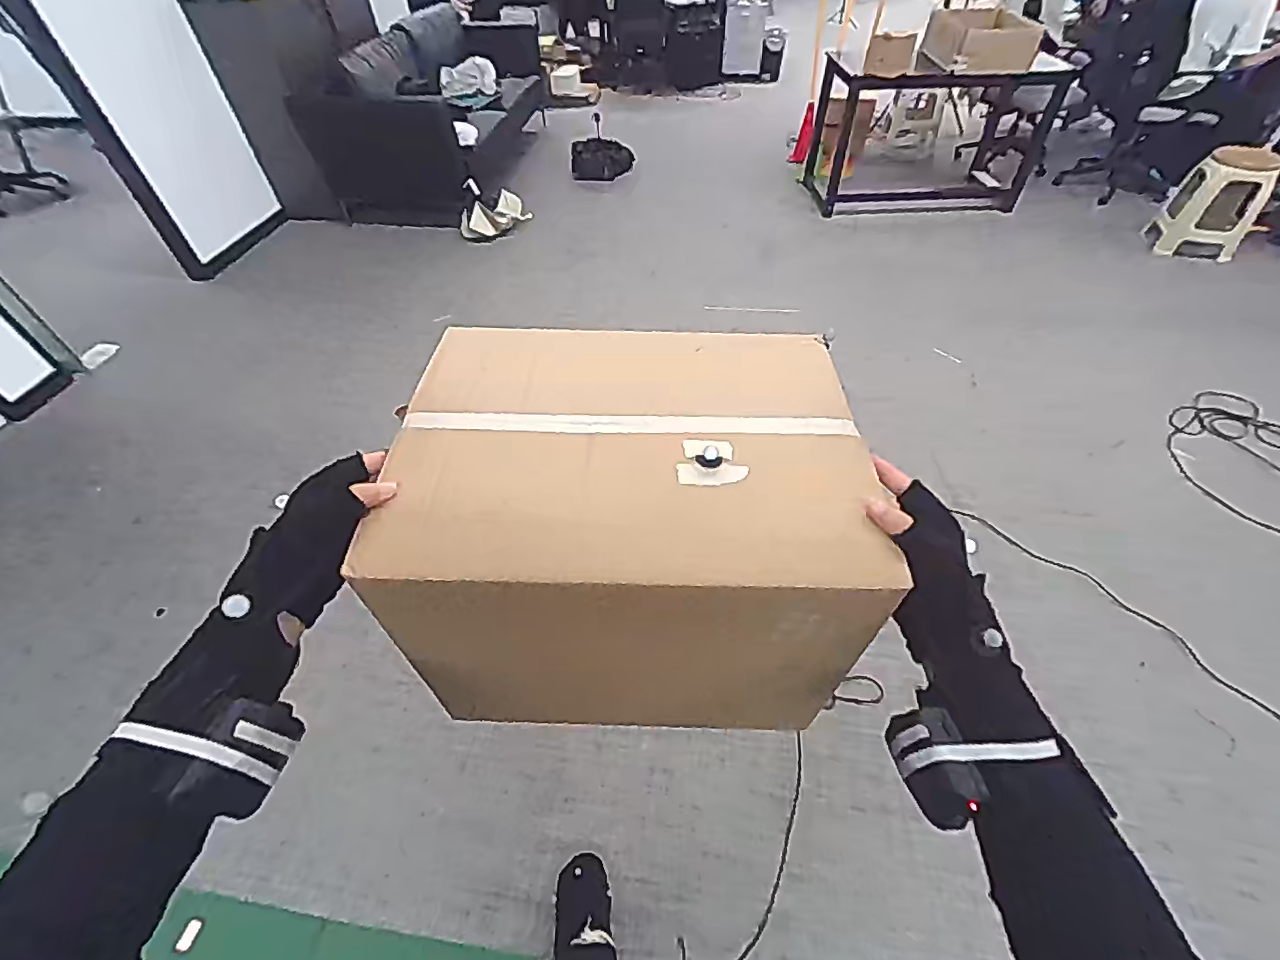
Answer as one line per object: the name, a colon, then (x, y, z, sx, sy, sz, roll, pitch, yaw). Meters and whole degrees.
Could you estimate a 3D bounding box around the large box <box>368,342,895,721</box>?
large box: (-0.010, 0.062, 0.609, 0.408, 0.320, 0.320, 2, 48, -1)
